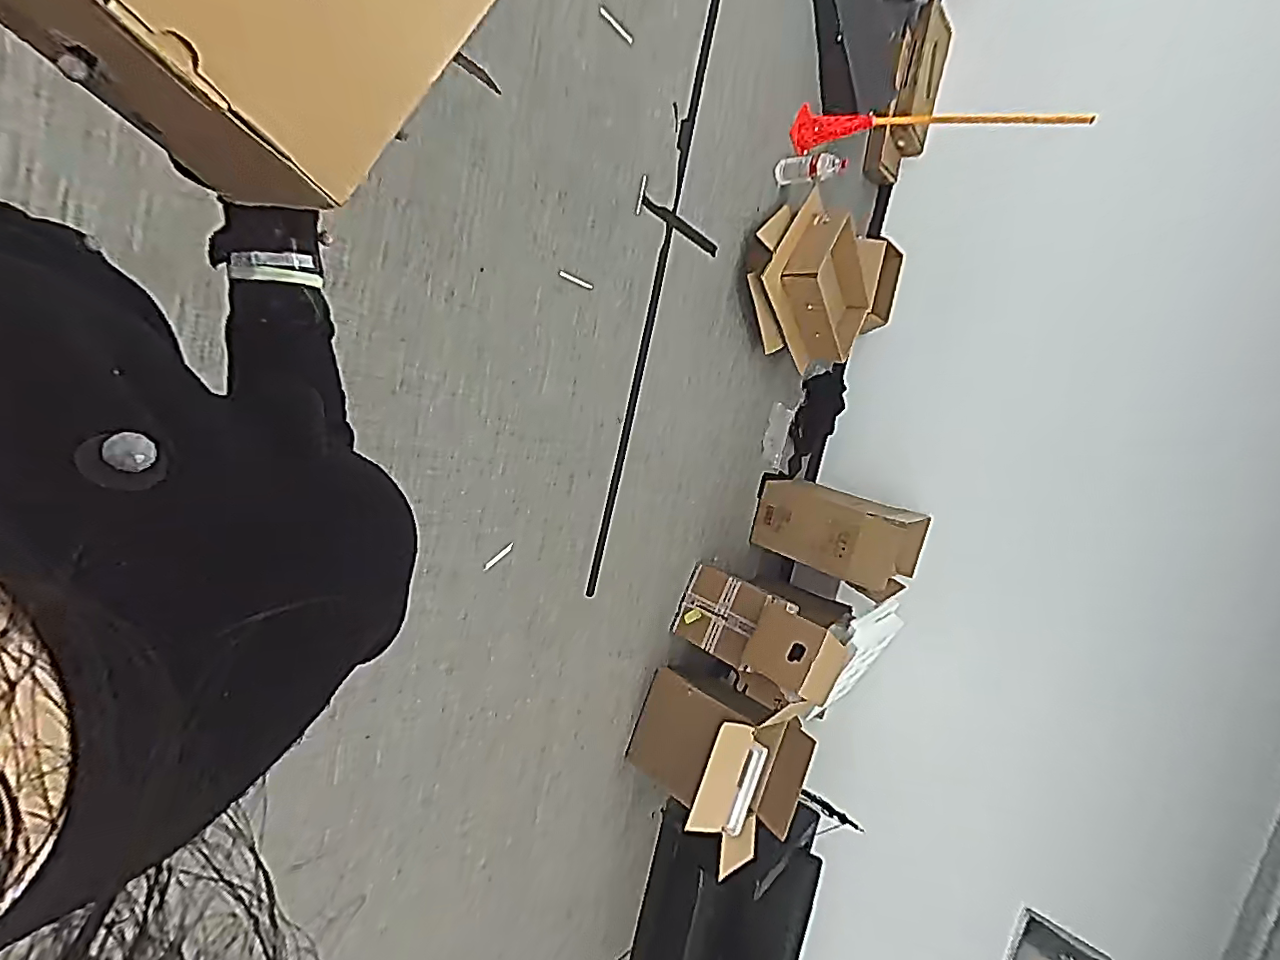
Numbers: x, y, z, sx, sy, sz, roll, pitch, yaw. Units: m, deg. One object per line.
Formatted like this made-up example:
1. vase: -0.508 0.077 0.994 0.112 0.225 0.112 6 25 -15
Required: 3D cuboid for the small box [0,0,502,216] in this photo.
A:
1. small box: -0.221 -0.281 0.302 0.179 0.176 0.168 -61 146 -10
